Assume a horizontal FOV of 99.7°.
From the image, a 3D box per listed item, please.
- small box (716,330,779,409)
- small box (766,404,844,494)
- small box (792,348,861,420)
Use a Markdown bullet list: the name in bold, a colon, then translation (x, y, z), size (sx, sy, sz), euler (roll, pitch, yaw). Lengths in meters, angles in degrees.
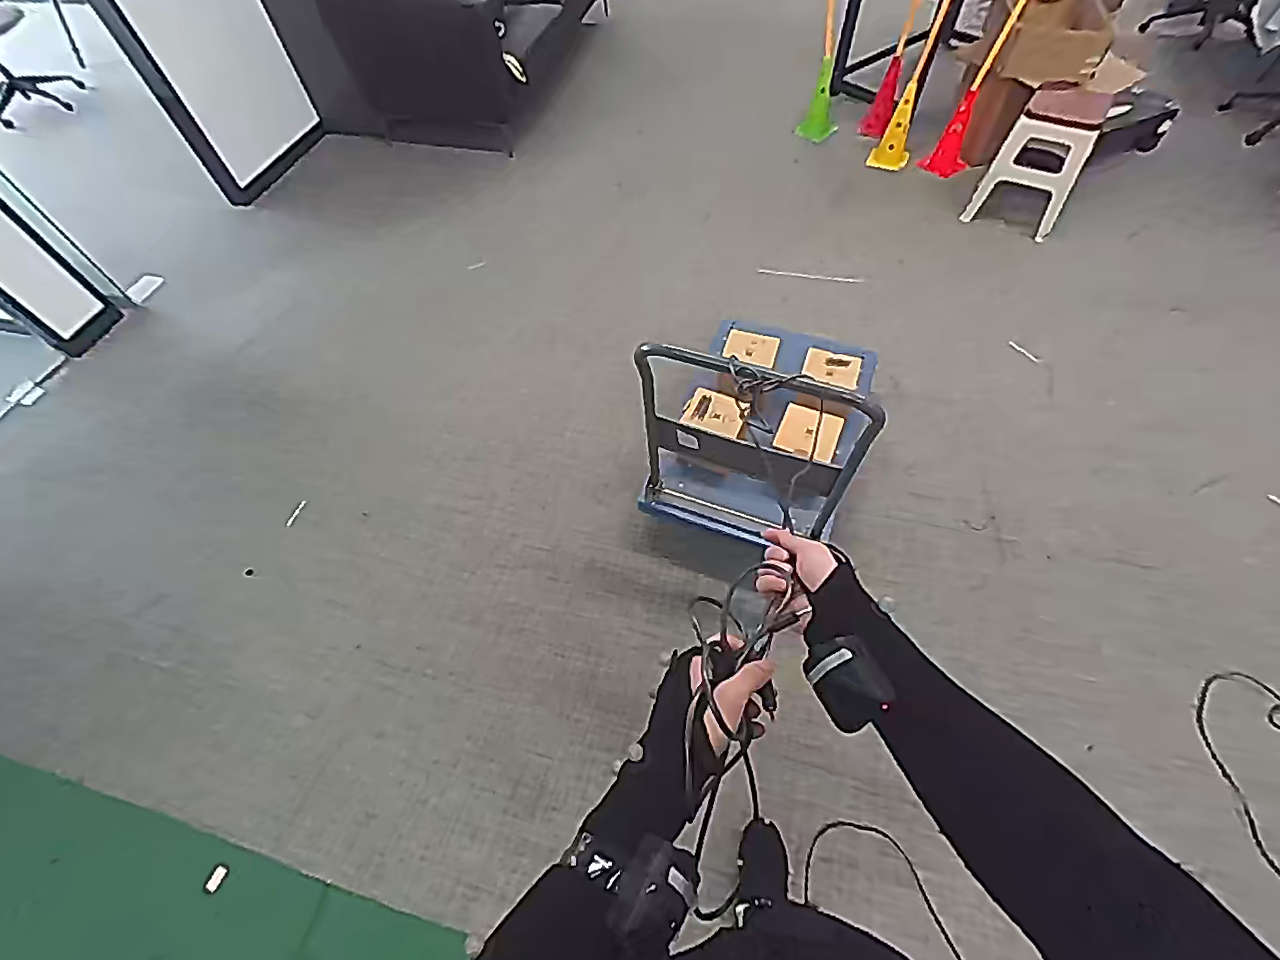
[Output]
- **small box**: translation (0.351, -0.360, 1.786), size (0.168, 0.176, 0.179), euler (15, 60, 13)
- **small box**: translation (0.485, -0.090, 1.607), size (0.168, 0.176, 0.179), euler (19, 62, 16)
- **small box**: translation (0.586, -0.286, 1.720), size (0.168, 0.176, 0.179), euler (16, 61, 15)
